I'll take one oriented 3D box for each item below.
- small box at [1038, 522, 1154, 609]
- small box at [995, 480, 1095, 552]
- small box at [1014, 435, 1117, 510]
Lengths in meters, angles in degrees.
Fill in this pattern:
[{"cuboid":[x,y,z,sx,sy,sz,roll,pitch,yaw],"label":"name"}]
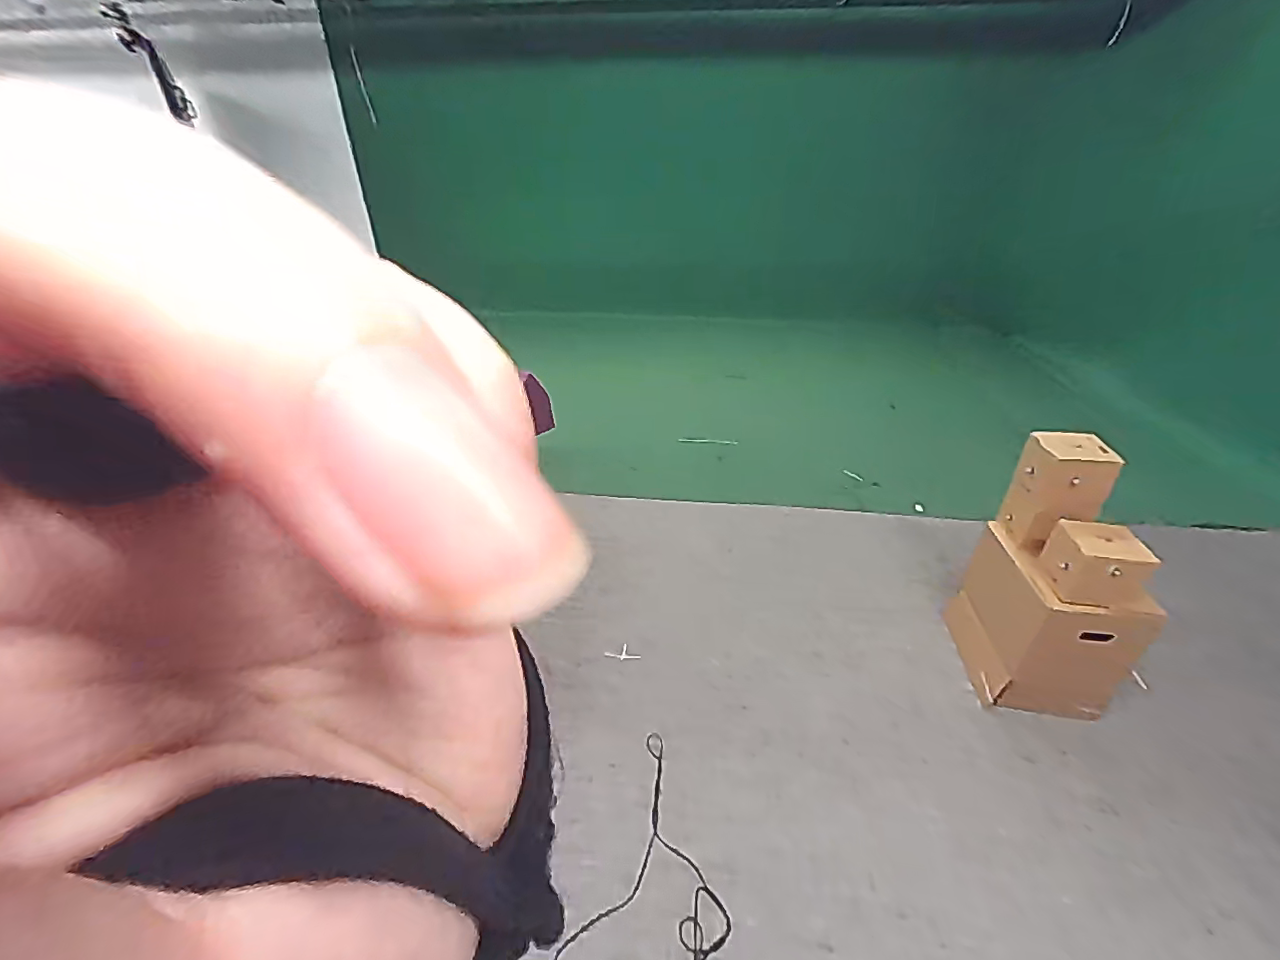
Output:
[{"cuboid":[1.252,0.238,1.507,0.179,0.176,0.168,6,31,9],"label":"small box"},{"cuboid":[1.269,0.117,1.709,0.179,0.176,0.168,2,33,7],"label":"small box"},{"cuboid":[1.259,-0.023,1.622,0.179,0.176,0.168,2,33,8],"label":"small box"}]
